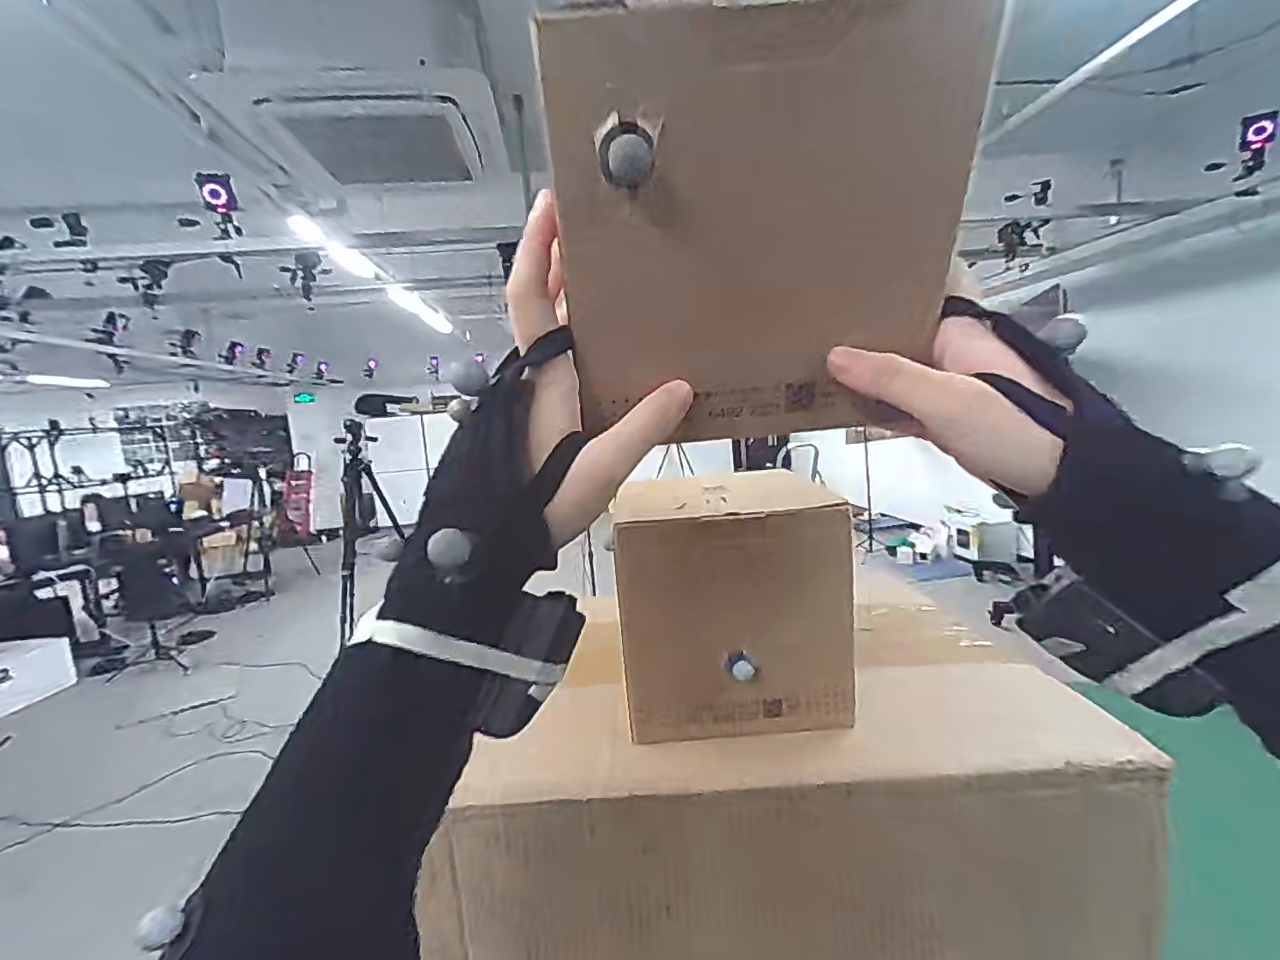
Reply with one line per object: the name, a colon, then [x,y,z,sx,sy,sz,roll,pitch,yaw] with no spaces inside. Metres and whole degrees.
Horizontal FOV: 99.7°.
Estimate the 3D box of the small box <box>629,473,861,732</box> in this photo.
small box: [0.078,0.092,0.475,0.168,0.176,0.179,-5,9,0]
